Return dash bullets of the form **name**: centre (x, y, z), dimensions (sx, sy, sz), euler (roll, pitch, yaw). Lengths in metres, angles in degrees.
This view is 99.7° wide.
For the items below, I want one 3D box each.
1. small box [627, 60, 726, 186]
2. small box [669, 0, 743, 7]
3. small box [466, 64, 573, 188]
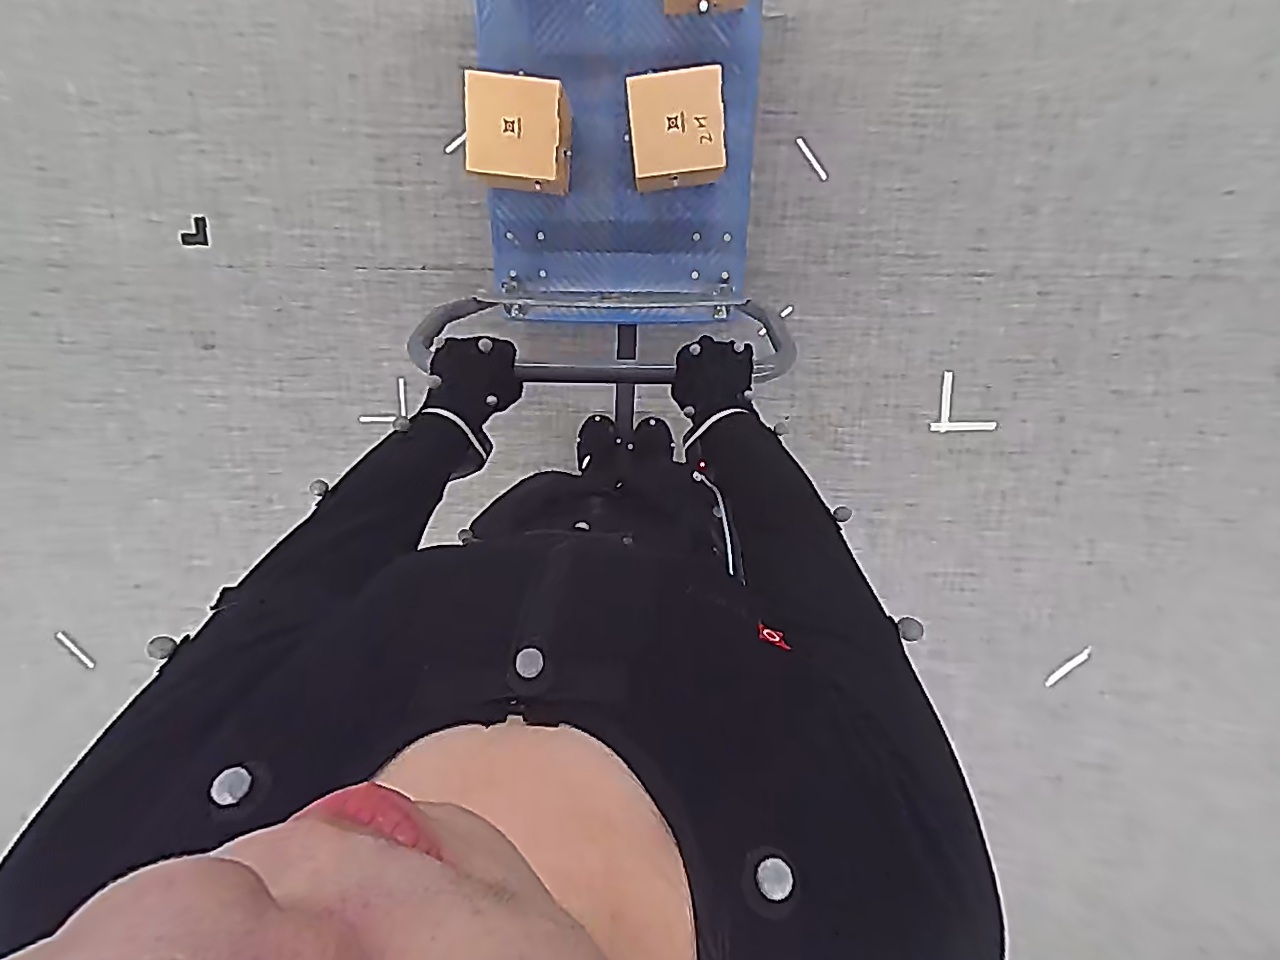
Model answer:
- **small box**: centre (0.073, -0.695, 1.073), dimensions (0.179, 0.176, 0.168), euler (-5, 110, 3)
- **small box**: centre (0.126, -0.993, 0.963), dimensions (0.168, 0.176, 0.179), euler (-2, 111, 2)
- **small box**: centre (-0.235, -0.694, 1.080), dimensions (0.179, 0.176, 0.168), euler (5, 110, -2)
